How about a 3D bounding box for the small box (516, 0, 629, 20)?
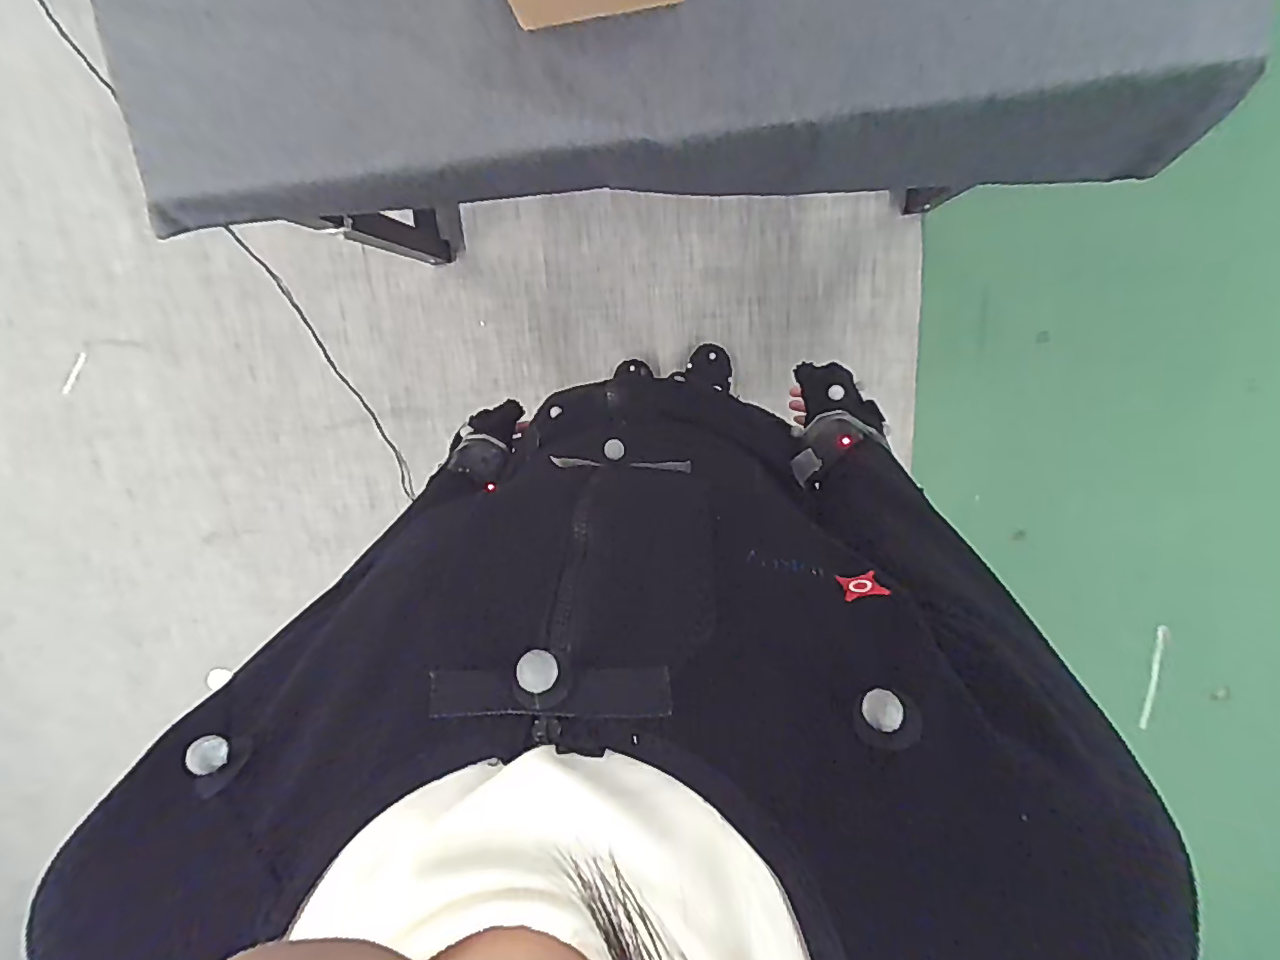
[{"bbox_3d":[-0.052,-0.544,0.459,0.179,0.176,0.168,-9,104,5],"label":"small box"}]
